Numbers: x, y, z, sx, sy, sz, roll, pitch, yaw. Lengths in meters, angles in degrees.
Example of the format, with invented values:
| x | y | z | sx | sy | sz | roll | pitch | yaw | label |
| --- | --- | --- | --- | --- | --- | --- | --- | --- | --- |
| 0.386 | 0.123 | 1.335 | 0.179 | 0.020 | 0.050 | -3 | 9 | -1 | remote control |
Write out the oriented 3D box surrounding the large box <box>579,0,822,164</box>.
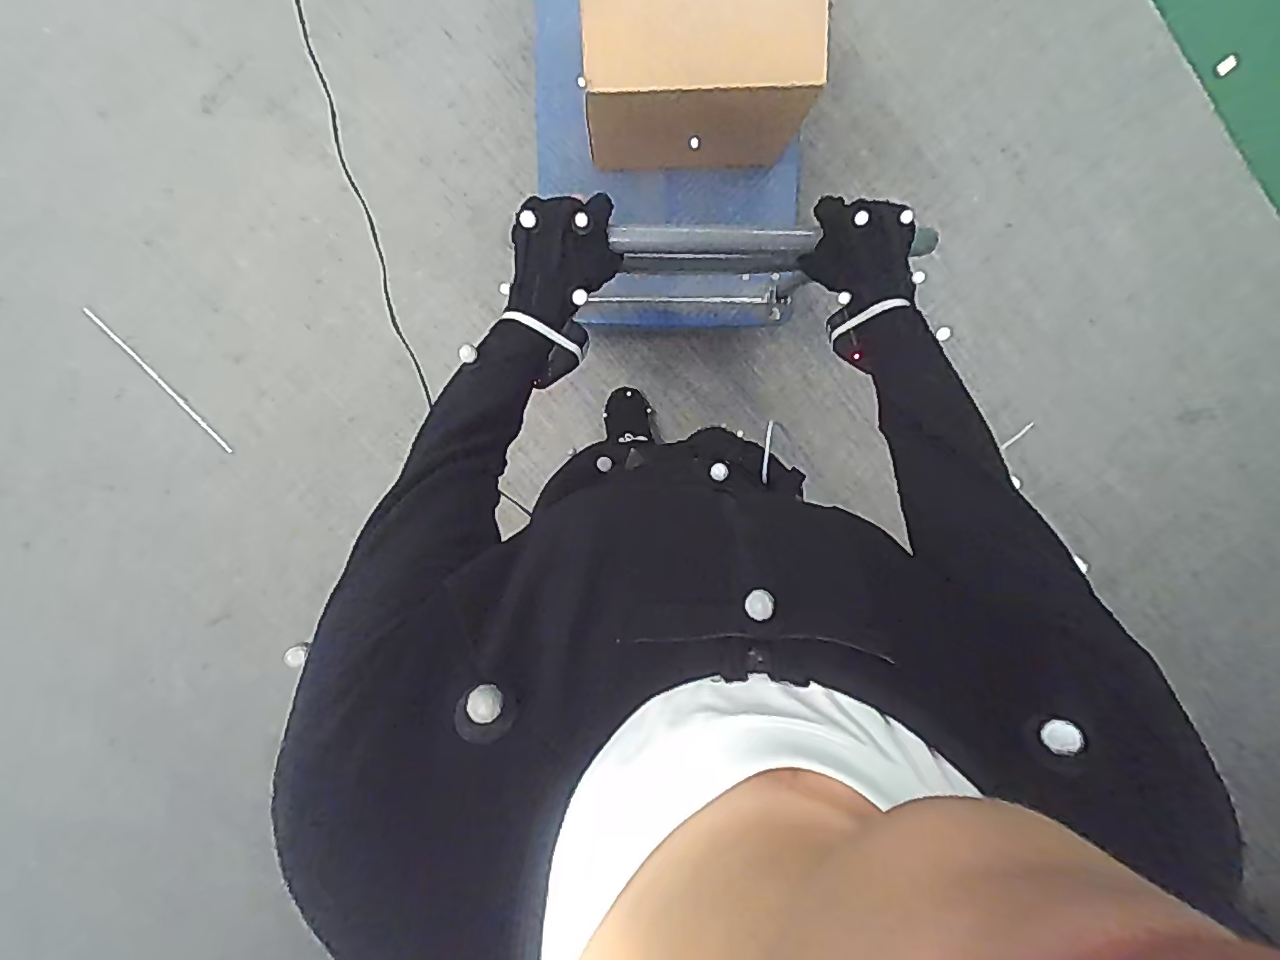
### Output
| x | y | z | sx | sy | sz | roll | pitch | yaw | label |
| --- | --- | --- | --- | --- | --- | --- | --- | --- | --- |
| 0.097 | -0.837 | 1.029 | 0.408 | 0.320 | 0.320 | -3 | 98 | 0 | large box |
